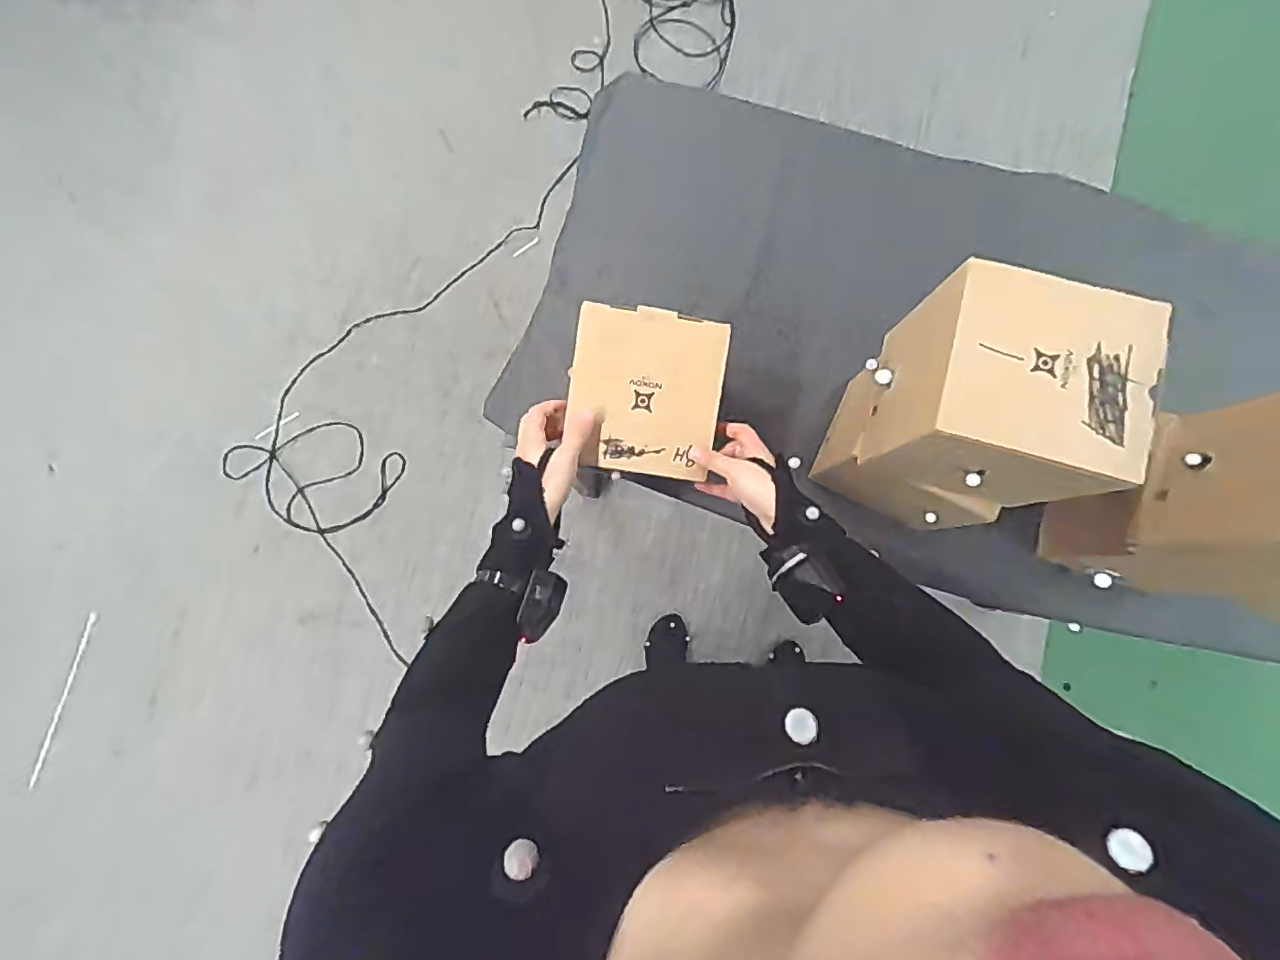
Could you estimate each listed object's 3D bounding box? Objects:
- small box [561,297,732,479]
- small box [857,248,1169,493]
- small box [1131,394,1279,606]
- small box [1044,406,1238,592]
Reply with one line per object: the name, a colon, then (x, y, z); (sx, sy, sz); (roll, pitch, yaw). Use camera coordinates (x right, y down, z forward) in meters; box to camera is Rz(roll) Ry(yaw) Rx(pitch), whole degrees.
small box: (0.004, -0.106, 0.658); (0.168, 0.176, 0.179); (8, 97, -2)
small box: (0.345, -0.090, 0.532); (0.179, 0.176, 0.168); (16, 82, 4)
small box: (0.644, 0.021, 0.514); (0.179, 0.176, 0.168); (27, 83, 6)
small box: (0.652, 0.032, 0.676); (0.168, 0.176, 0.179); (16, 82, 4)
